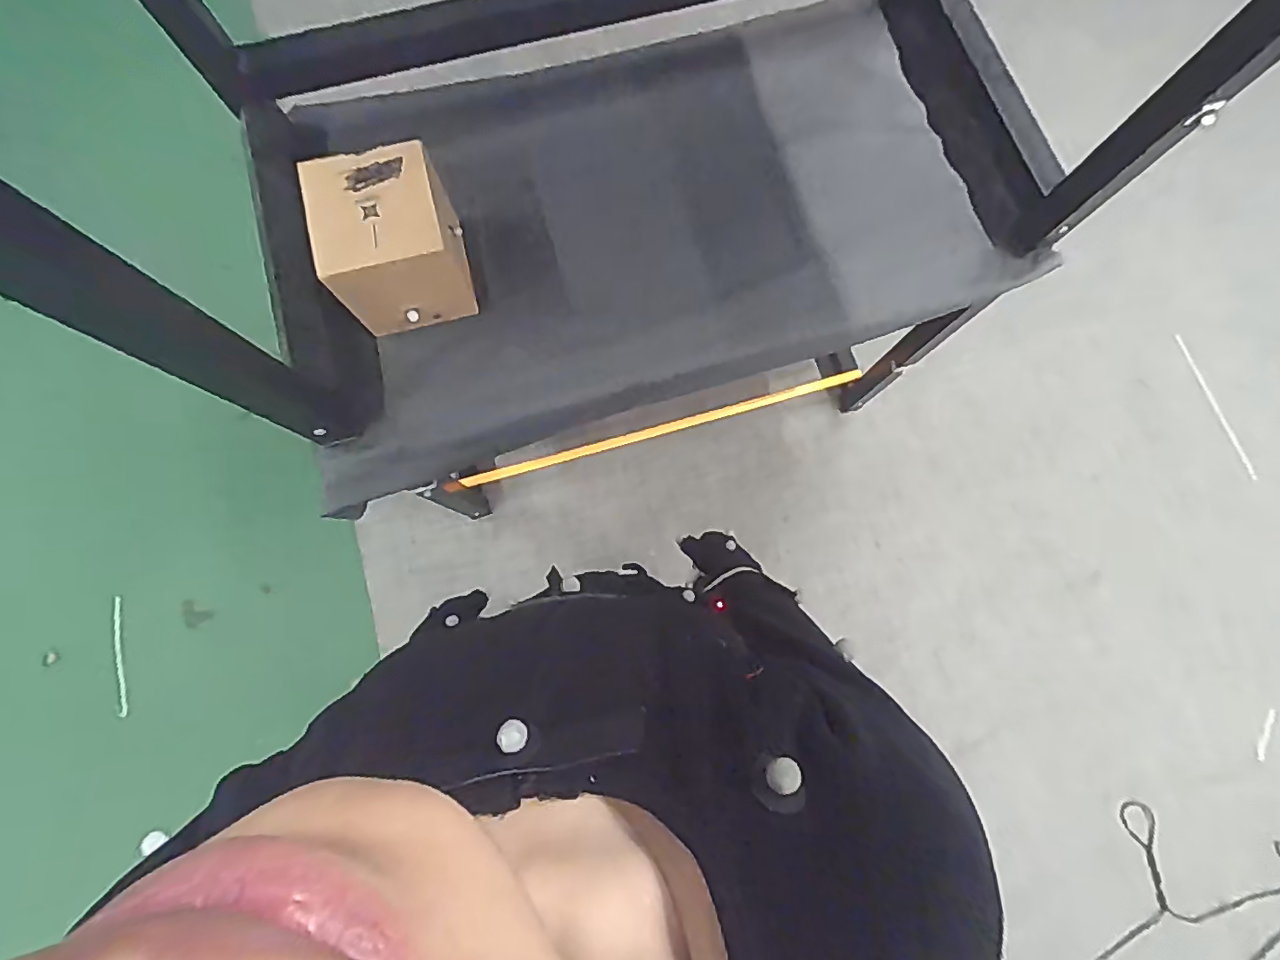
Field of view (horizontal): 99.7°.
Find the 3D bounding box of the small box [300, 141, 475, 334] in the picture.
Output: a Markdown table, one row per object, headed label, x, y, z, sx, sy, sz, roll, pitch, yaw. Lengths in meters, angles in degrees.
| label | x | y | z | sx | sy | sz | roll | pitch | yaw |
| --- | --- | --- | --- | --- | --- | --- | --- | --- | --- |
| small box | -0.355 | -0.341 | 0.786 | 0.168 | 0.176 | 0.179 | -15 | 79 | -4 |
